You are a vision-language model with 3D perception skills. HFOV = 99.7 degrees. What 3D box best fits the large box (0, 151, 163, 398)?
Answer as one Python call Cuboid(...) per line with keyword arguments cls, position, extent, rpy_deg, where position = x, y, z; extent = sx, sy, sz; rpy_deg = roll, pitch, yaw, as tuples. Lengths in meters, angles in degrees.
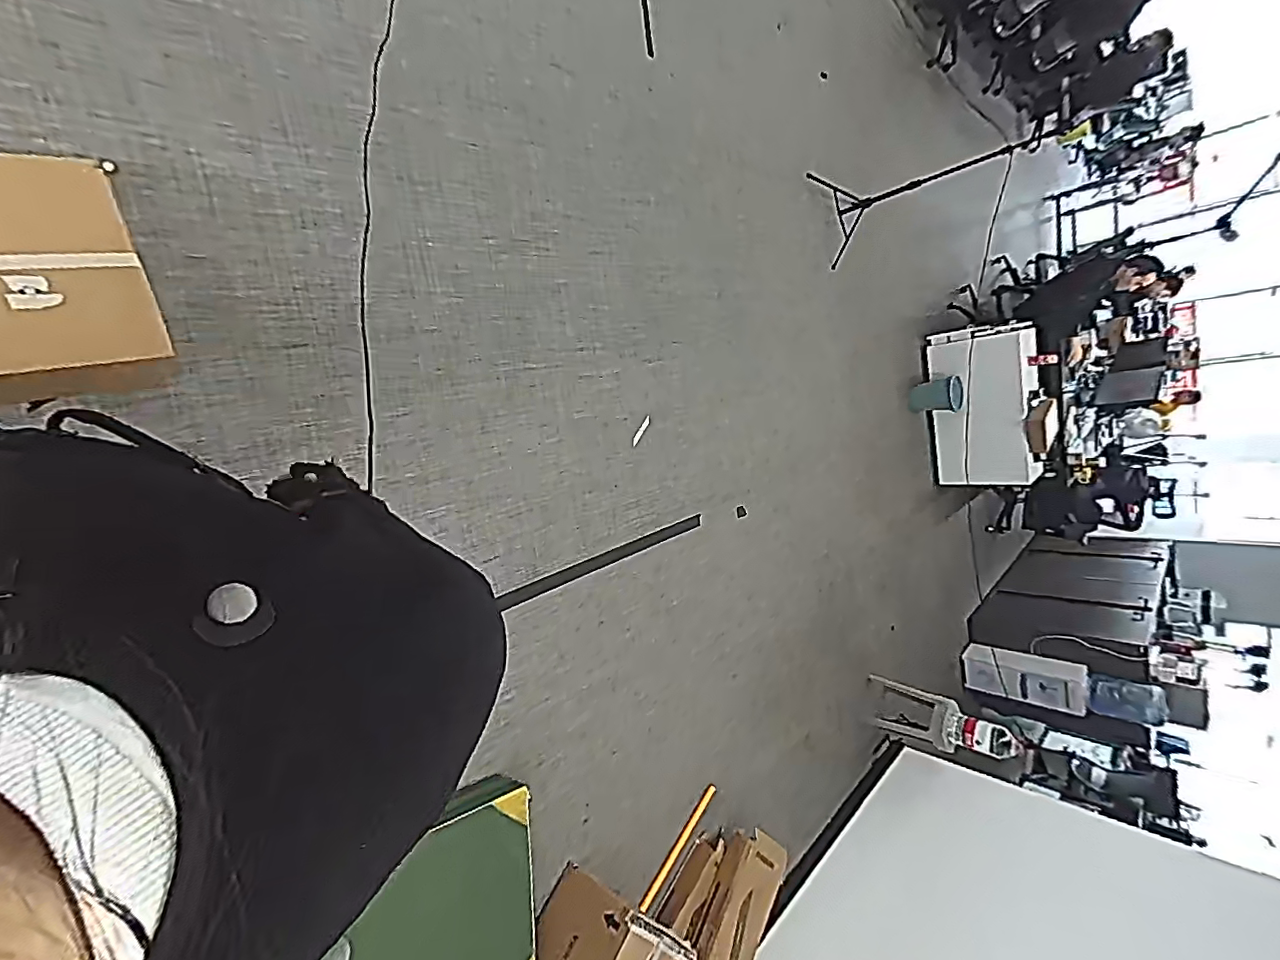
Cuboid(cls="large box", position=(-1.079, -0.306, 0.867), extent=(0.408, 0.320, 0.320), rpy_deg=(-22, 104, -41))
